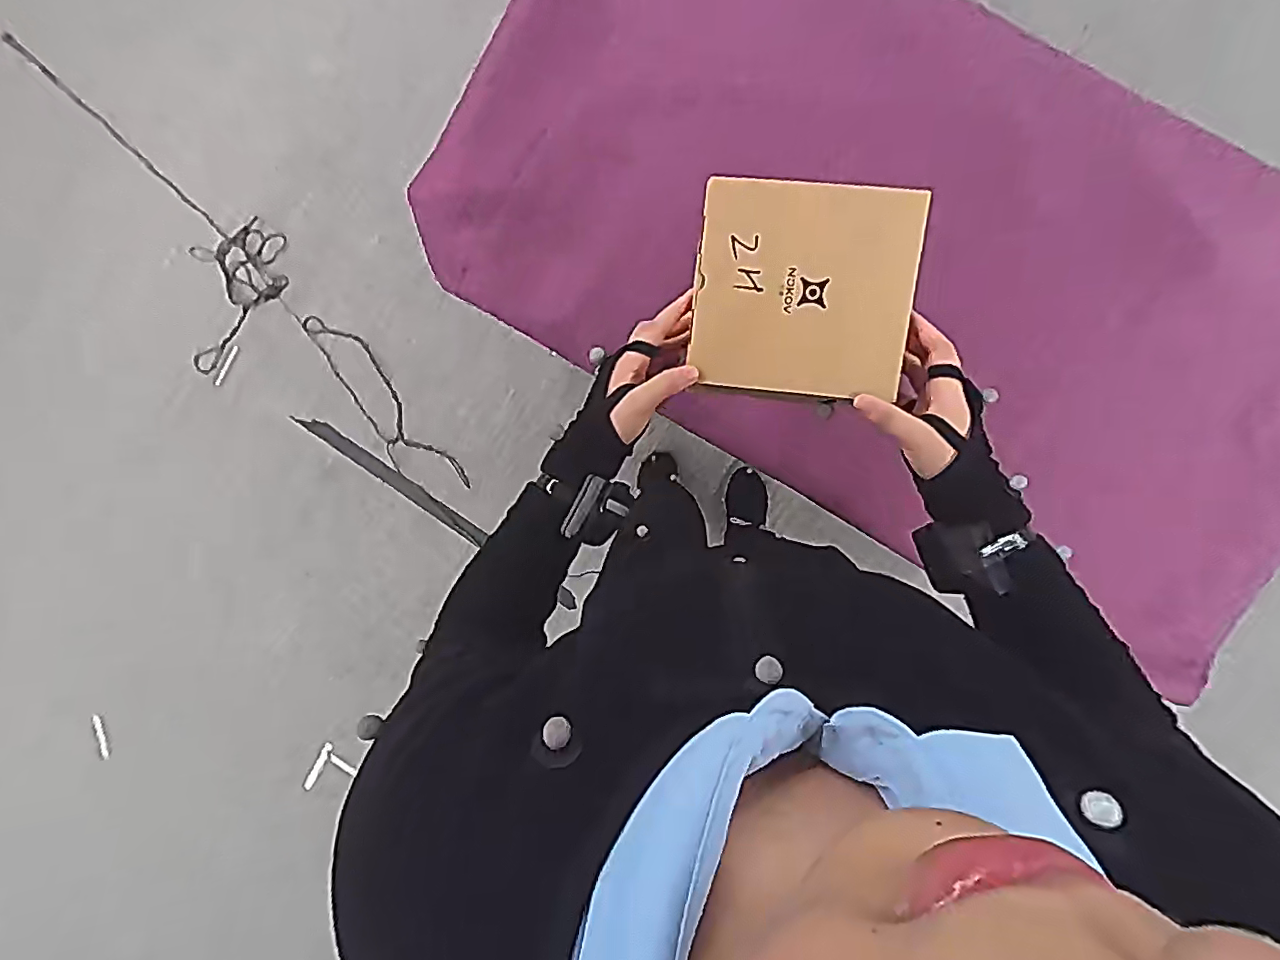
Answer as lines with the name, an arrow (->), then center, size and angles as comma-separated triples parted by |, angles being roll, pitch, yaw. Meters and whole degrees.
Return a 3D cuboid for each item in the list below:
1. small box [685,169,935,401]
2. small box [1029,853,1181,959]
small box -> 0.141, -0.166, 0.512 | 0.179, 0.176, 0.168 | 8, 98, 6
small box -> 1.096, 1.054, 1.292 | 0.179, 0.176, 0.168 | 38, 99, 4
